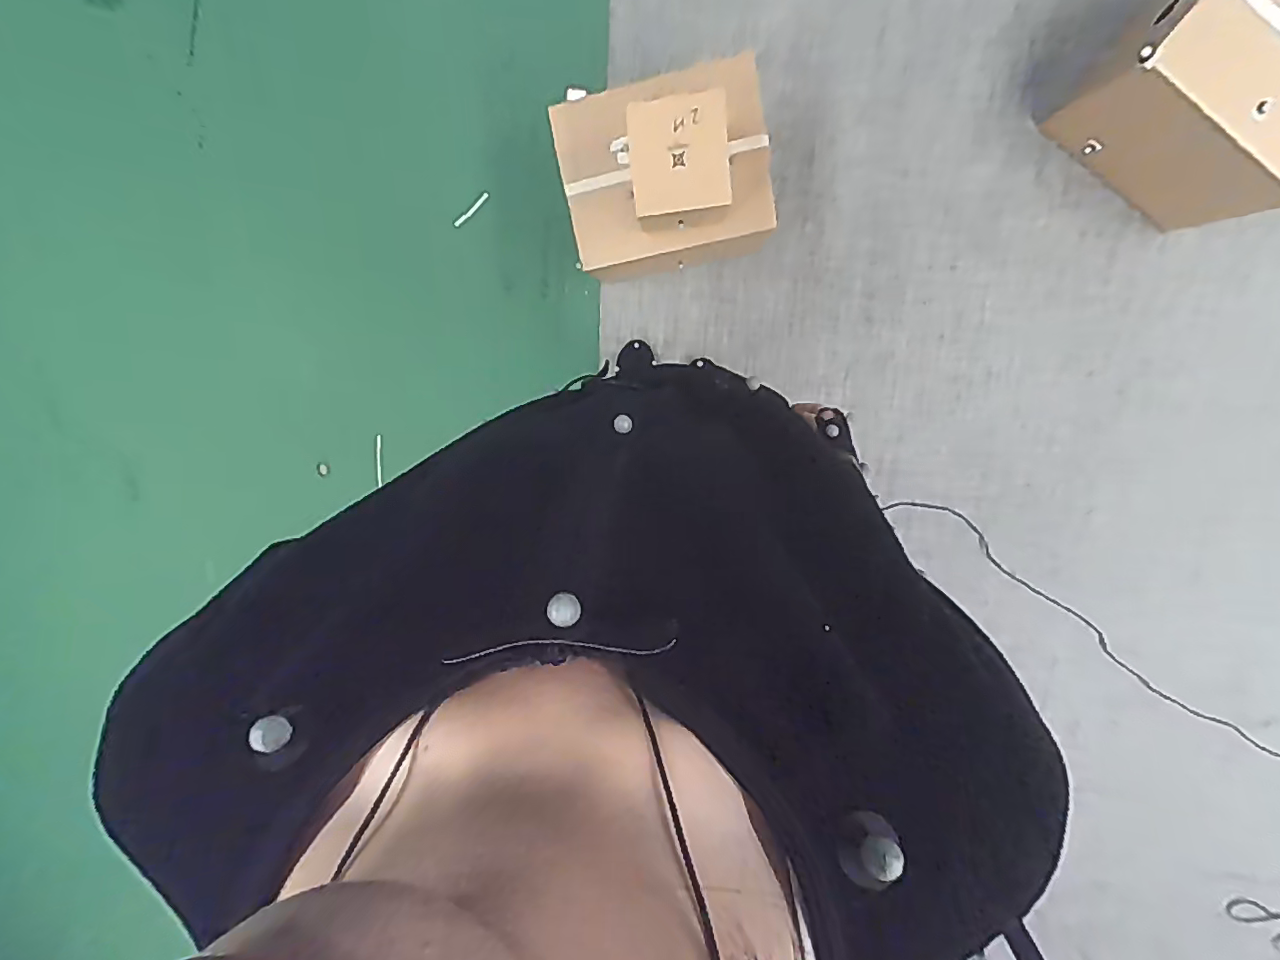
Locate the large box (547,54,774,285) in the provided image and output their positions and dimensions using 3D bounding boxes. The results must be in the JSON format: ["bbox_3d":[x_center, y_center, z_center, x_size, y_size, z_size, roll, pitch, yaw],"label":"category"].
[{"bbox_3d":[0.056,-0.645,1.200,0.408,0.320,0.320,-10,102,8],"label":"large box"}]

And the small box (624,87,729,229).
[{"bbox_3d":[0.067,-0.558,0.965,0.168,0.176,0.179,-5,104,5],"label":"small box"}]
